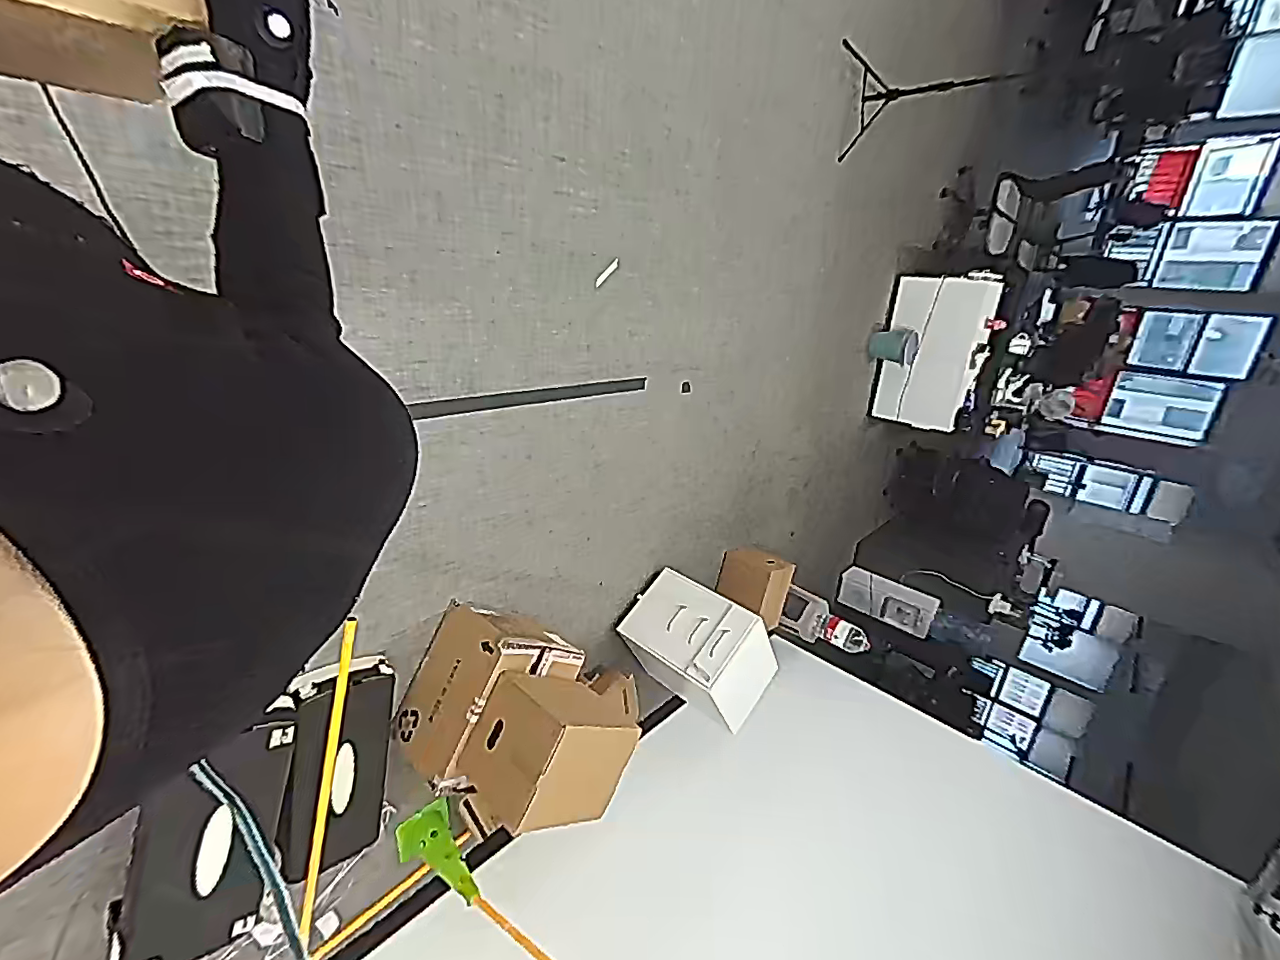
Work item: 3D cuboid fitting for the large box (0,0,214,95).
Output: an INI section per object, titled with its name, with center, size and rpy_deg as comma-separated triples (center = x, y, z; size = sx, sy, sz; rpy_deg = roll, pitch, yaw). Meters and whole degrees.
[large box]
center = -0.548, -0.459, 0.296
size = 0.408, 0.320, 0.320
rpy_deg = -19, 122, -44
